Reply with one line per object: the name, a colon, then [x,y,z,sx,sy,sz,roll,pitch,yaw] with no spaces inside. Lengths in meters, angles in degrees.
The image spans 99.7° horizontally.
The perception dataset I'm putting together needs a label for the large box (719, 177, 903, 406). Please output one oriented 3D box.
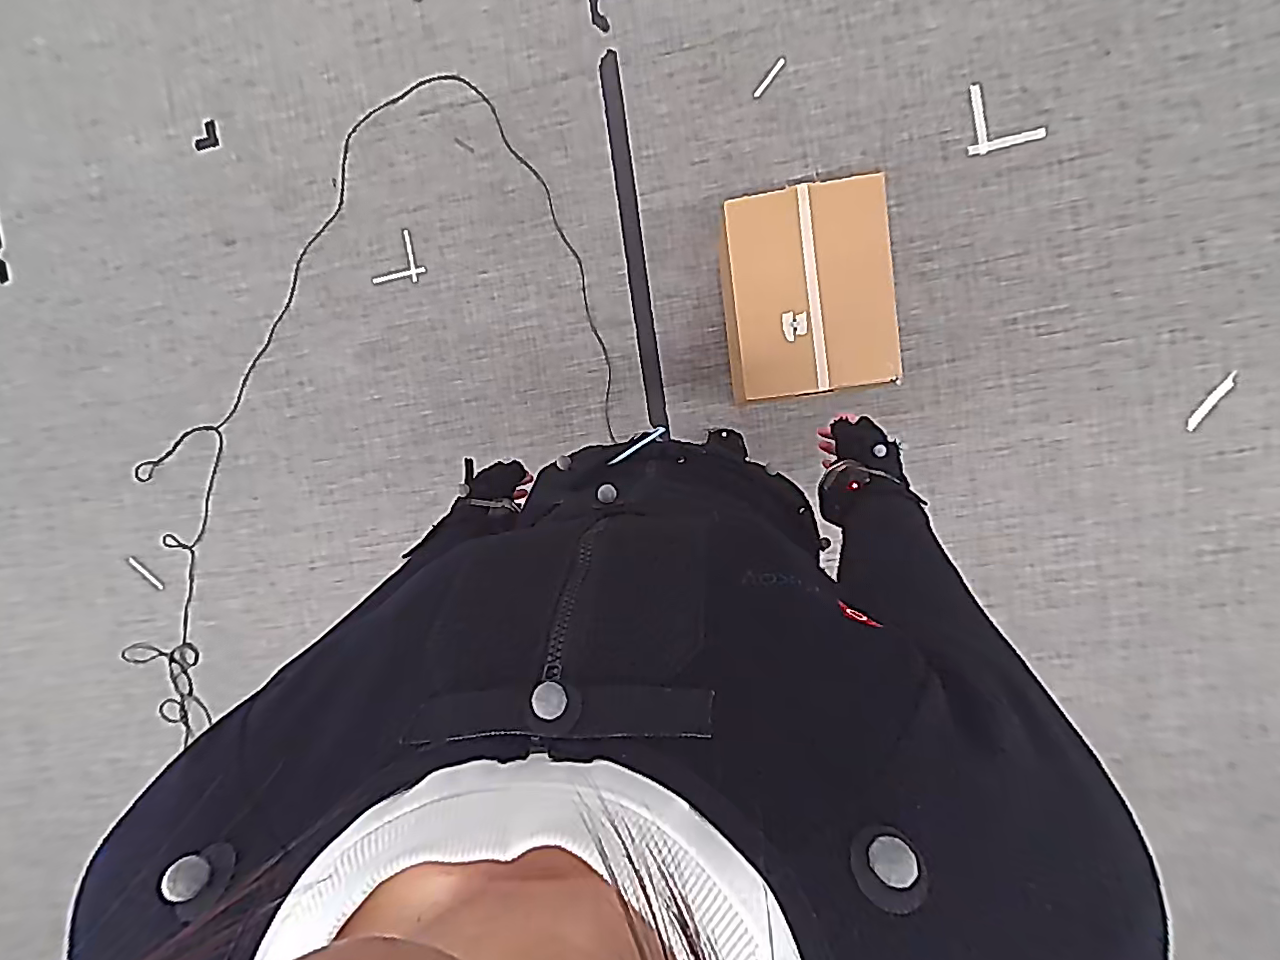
large box: [0.365,-0.393,1.235,0.320,0.320,0.408,-7,95,8]
